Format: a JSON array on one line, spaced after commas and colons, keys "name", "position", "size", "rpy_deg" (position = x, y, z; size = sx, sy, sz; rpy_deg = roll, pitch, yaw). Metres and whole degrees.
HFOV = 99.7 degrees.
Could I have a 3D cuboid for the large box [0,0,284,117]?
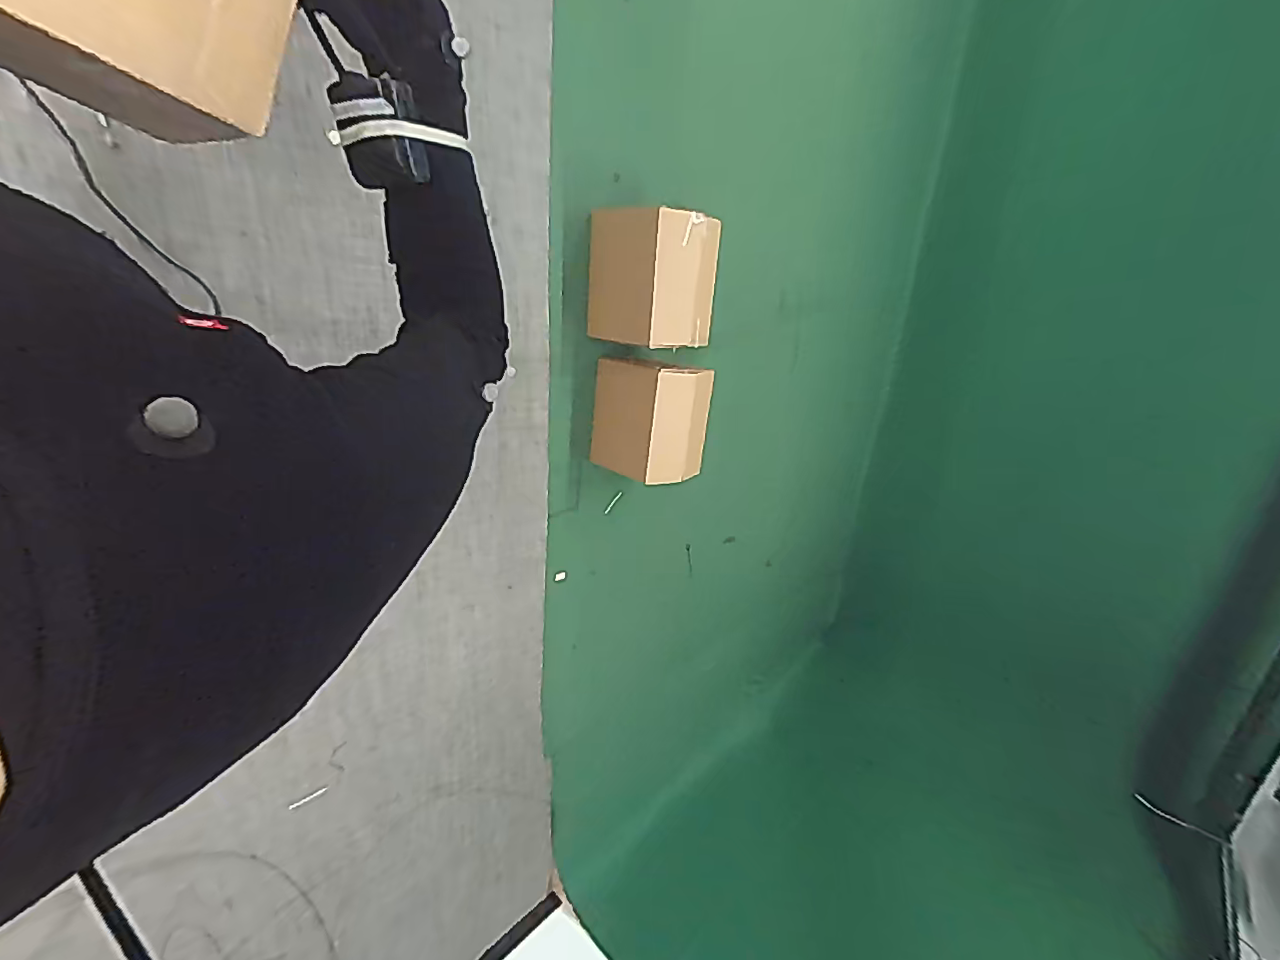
[{"name": "large box", "position": [-0.417, -0.444, 0.249], "size": [0.408, 0.320, 0.320], "rpy_deg": [9, 106, -52]}]
